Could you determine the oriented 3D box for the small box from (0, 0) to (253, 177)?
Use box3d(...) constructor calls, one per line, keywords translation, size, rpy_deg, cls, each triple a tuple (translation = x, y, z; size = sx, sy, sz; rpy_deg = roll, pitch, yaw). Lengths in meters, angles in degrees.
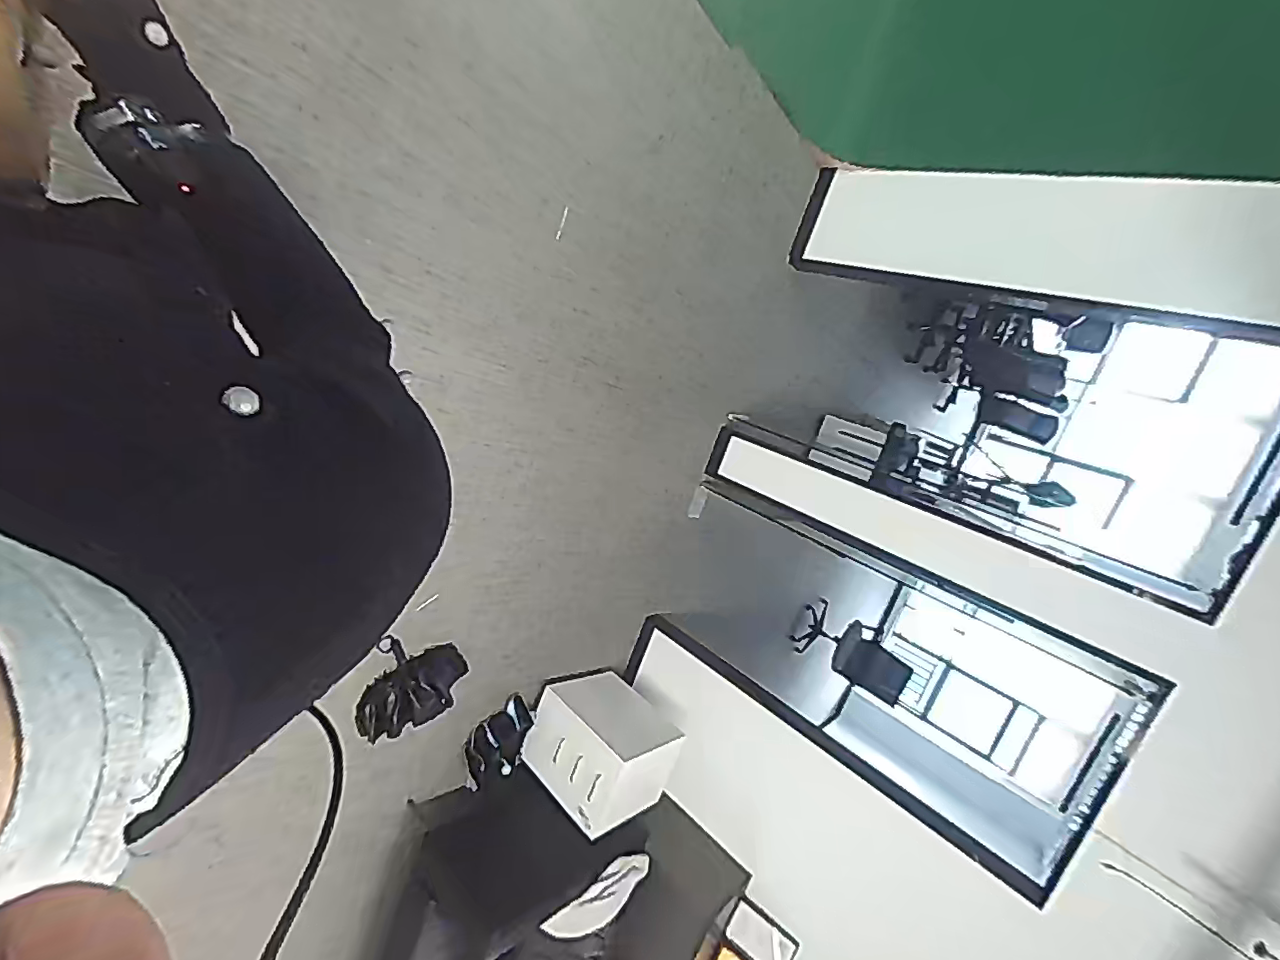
box3d(translation=(-0.384, -0.341, 0.324), size=(0.176, 0.168, 0.179), rpy_deg=(-45, 166, 12), cls="small box")
